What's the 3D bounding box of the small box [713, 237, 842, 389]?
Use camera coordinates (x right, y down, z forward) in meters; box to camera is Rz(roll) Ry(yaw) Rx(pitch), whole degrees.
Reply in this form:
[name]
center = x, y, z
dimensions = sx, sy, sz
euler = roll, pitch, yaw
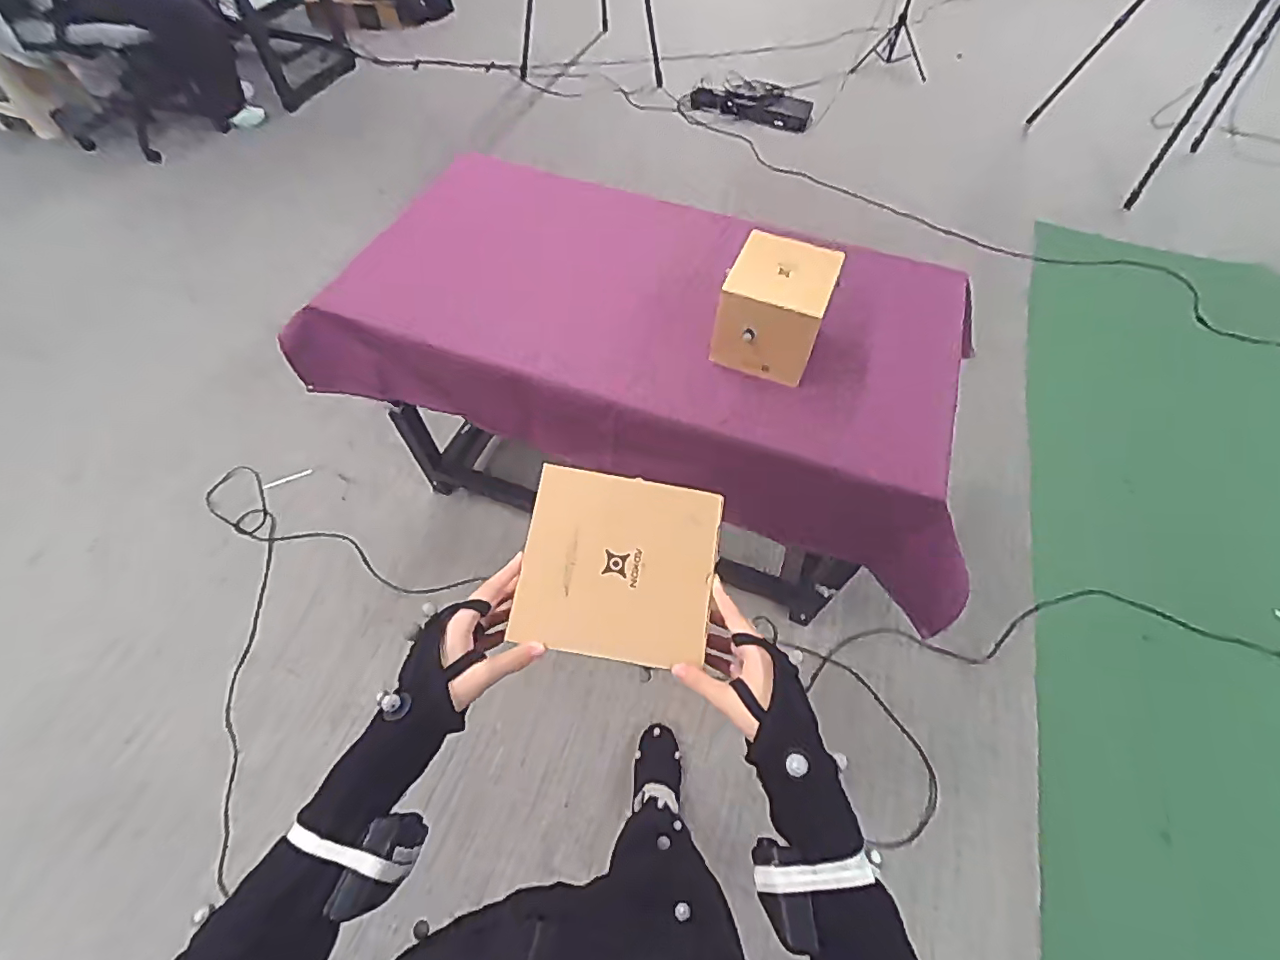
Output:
[small box]
center = 0.236, -0.291, 0.961
dimensions = 0.168, 0.176, 0.179
euler = 21, 58, 11
